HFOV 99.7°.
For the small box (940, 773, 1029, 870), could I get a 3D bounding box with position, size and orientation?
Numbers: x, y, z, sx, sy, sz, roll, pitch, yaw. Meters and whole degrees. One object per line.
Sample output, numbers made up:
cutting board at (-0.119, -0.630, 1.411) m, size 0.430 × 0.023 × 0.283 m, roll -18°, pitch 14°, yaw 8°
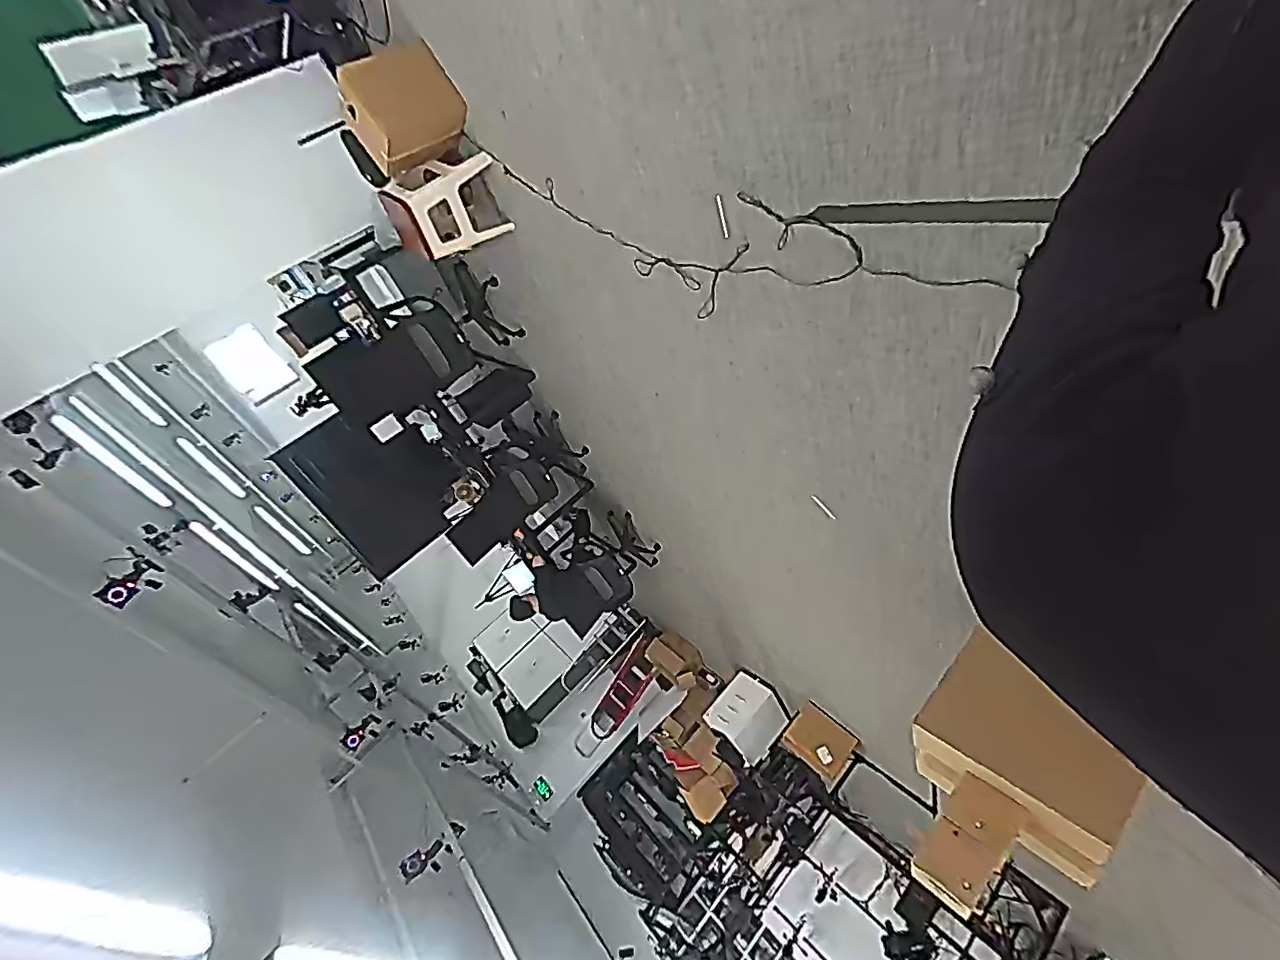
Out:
small box at (1.050, 1.033, 1.655) m, size 0.179 × 0.176 × 0.168 m, roll 25°, pitch 149°, yaw 46°
